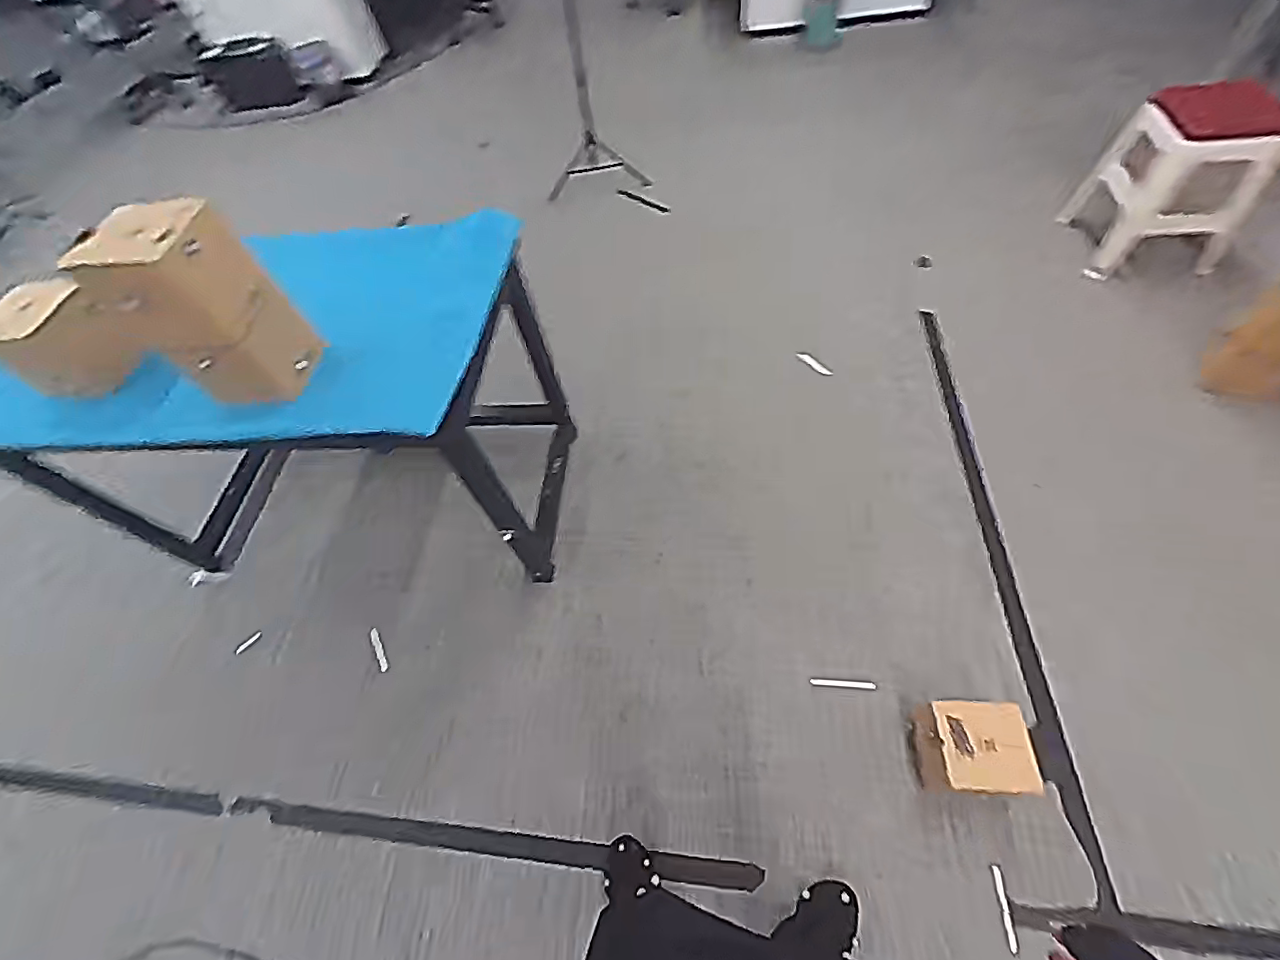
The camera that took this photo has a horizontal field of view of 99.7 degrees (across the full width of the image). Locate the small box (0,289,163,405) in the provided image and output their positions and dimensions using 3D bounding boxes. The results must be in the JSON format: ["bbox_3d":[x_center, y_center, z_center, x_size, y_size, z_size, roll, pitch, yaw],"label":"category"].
[{"bbox_3d":[-1.192,-0.283,1.160,0.168,0.176,0.179,1,60,11],"label":"small box"}]

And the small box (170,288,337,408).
[{"bbox_3d":[-0.751,-0.255,1.071,0.179,0.176,0.168,-1,58,9],"label":"small box"}]

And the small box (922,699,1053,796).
[{"bbox_3d":[0.727,0.577,1.160,0.179,0.176,0.168,-1,58,8],"label":"small box"}]

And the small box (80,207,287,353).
[{"bbox_3d":[-0.766,-0.336,0.931,0.179,0.176,0.168,-3,57,6],"label":"small box"}]
